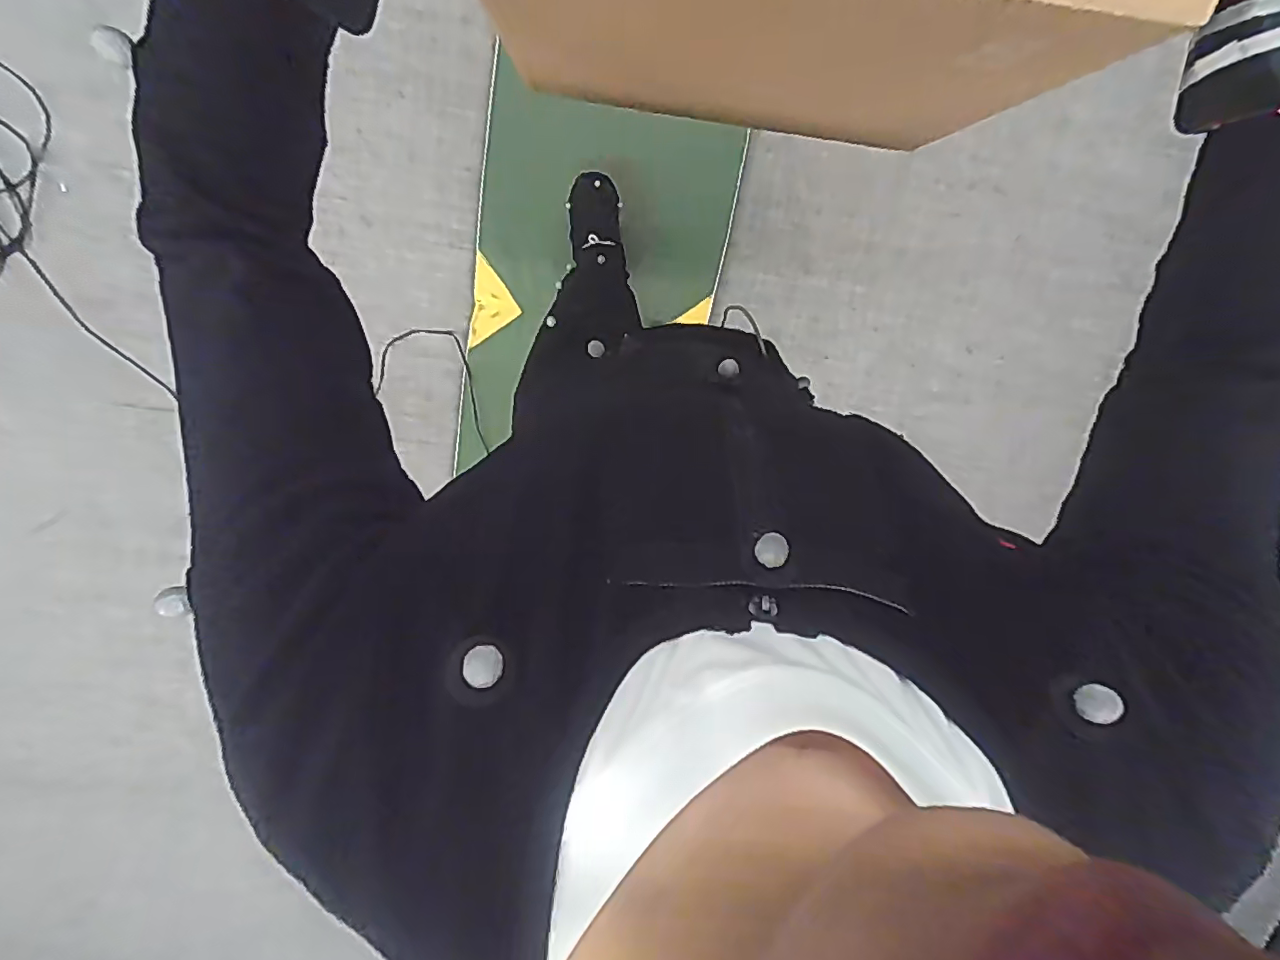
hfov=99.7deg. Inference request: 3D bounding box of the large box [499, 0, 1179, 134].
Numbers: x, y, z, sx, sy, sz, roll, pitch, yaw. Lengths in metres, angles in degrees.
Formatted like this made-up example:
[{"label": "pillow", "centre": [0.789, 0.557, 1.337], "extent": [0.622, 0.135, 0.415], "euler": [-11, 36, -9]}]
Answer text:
[{"label": "large box", "centre": [0.108, -0.466, 0.364], "extent": [0.408, 0.320, 0.320], "euler": [5, 111, -4]}]
